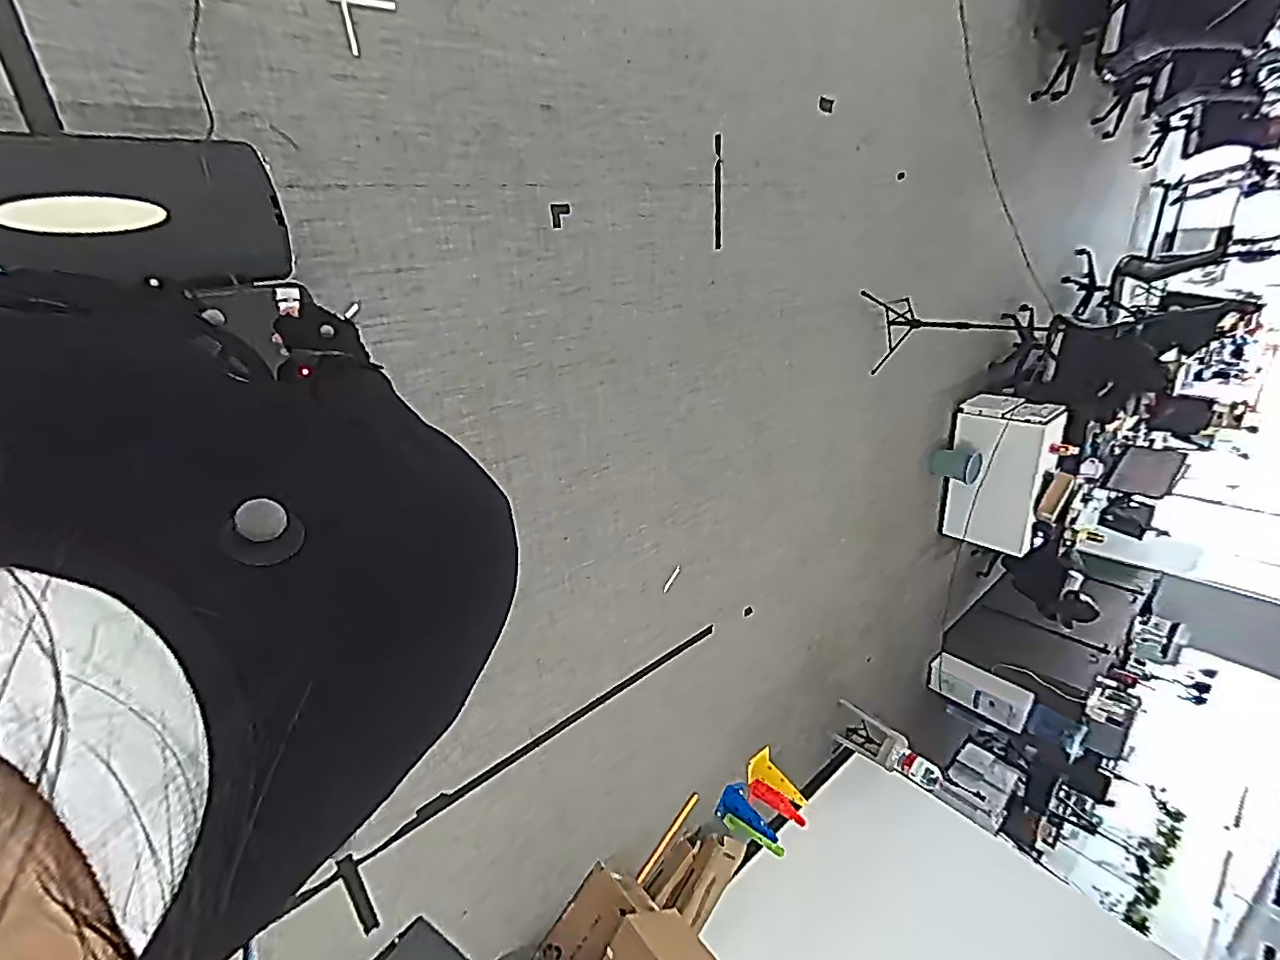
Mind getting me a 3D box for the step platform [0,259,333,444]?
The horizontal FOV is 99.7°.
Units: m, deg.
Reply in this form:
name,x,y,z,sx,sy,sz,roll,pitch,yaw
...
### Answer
name,x,y,z,sx,sy,sz,roll,pitch,yaw
step platform,-1.037,-0.284,1.128,0.684,0.204,0.286,-21,117,-33
